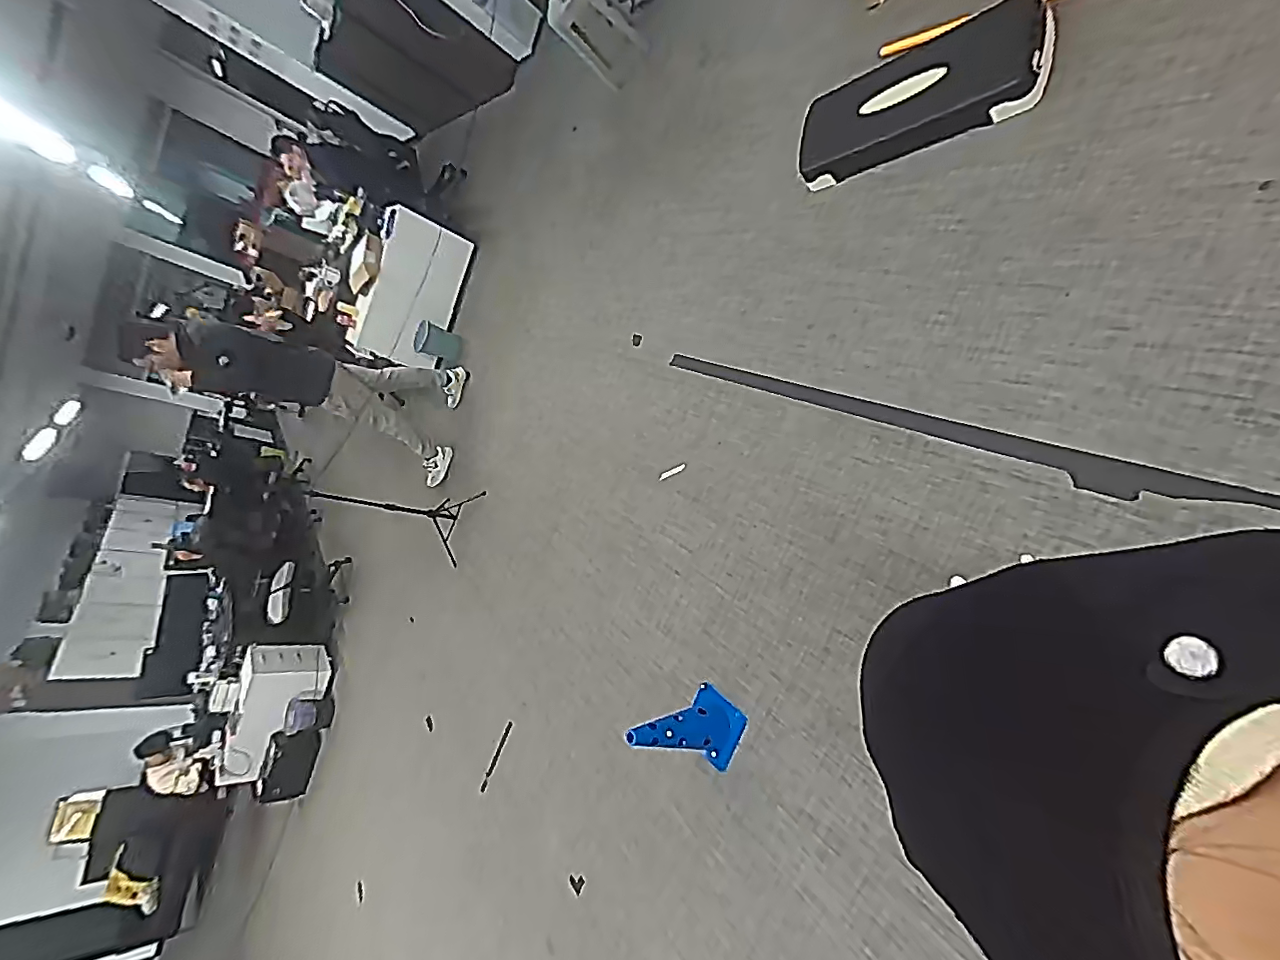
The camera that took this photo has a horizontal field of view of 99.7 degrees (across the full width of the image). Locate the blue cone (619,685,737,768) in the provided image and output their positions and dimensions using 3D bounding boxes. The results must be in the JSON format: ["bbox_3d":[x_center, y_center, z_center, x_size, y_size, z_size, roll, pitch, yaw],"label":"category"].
[{"bbox_3d":[0.096,0.742,1.597,0.192,0.380,0.193,32,103,49],"label":"blue cone"}]
